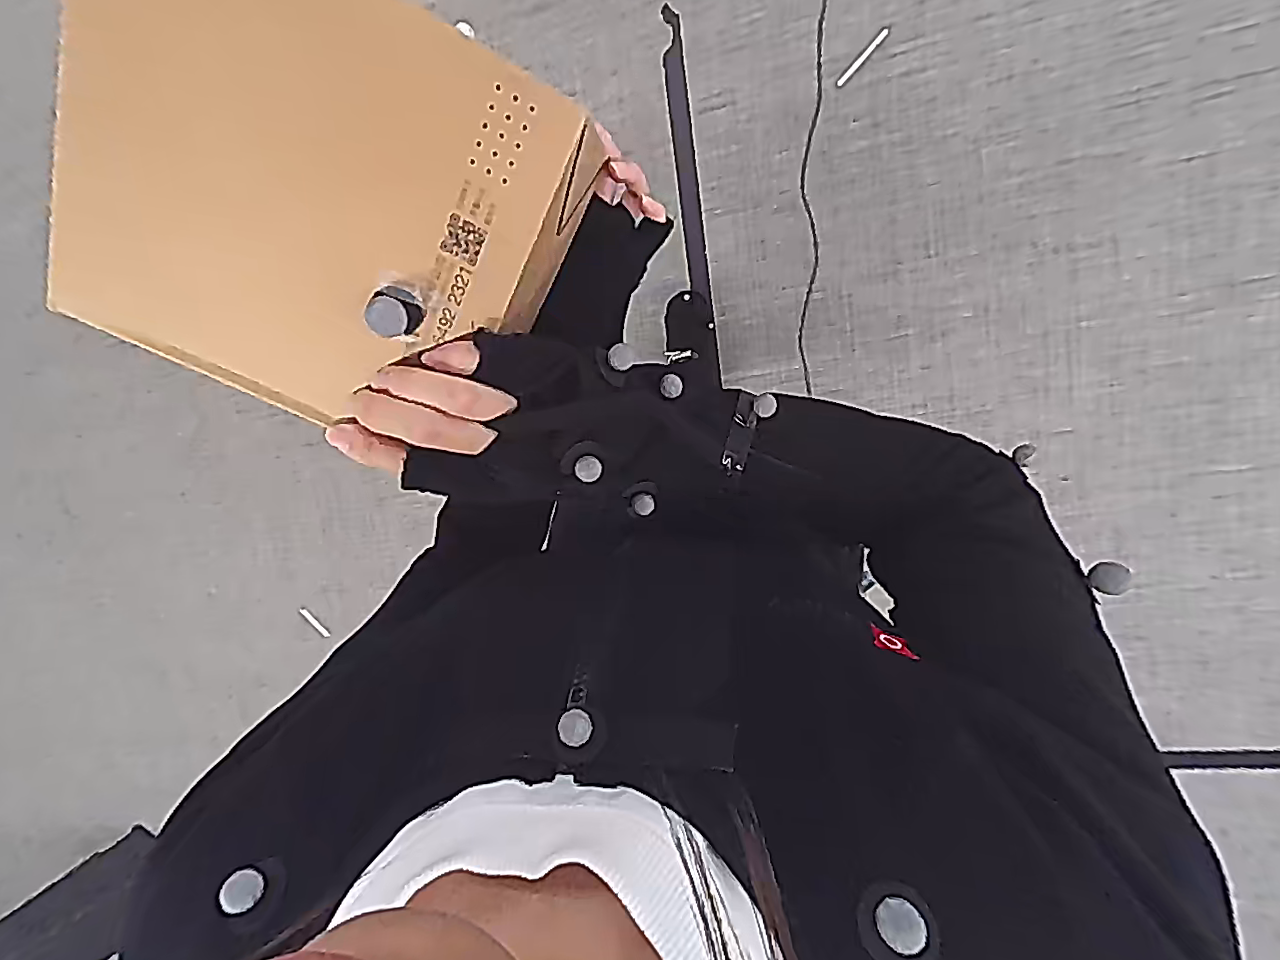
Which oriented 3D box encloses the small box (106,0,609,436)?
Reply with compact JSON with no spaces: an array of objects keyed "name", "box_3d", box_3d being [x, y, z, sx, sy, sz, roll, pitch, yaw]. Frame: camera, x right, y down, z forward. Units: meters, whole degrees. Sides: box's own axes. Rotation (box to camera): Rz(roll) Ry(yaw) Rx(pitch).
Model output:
[{"name":"small box","box_3d":[-0.127,-0.148,0.301,0.176,0.179,0.168,25,114,-13]}]
